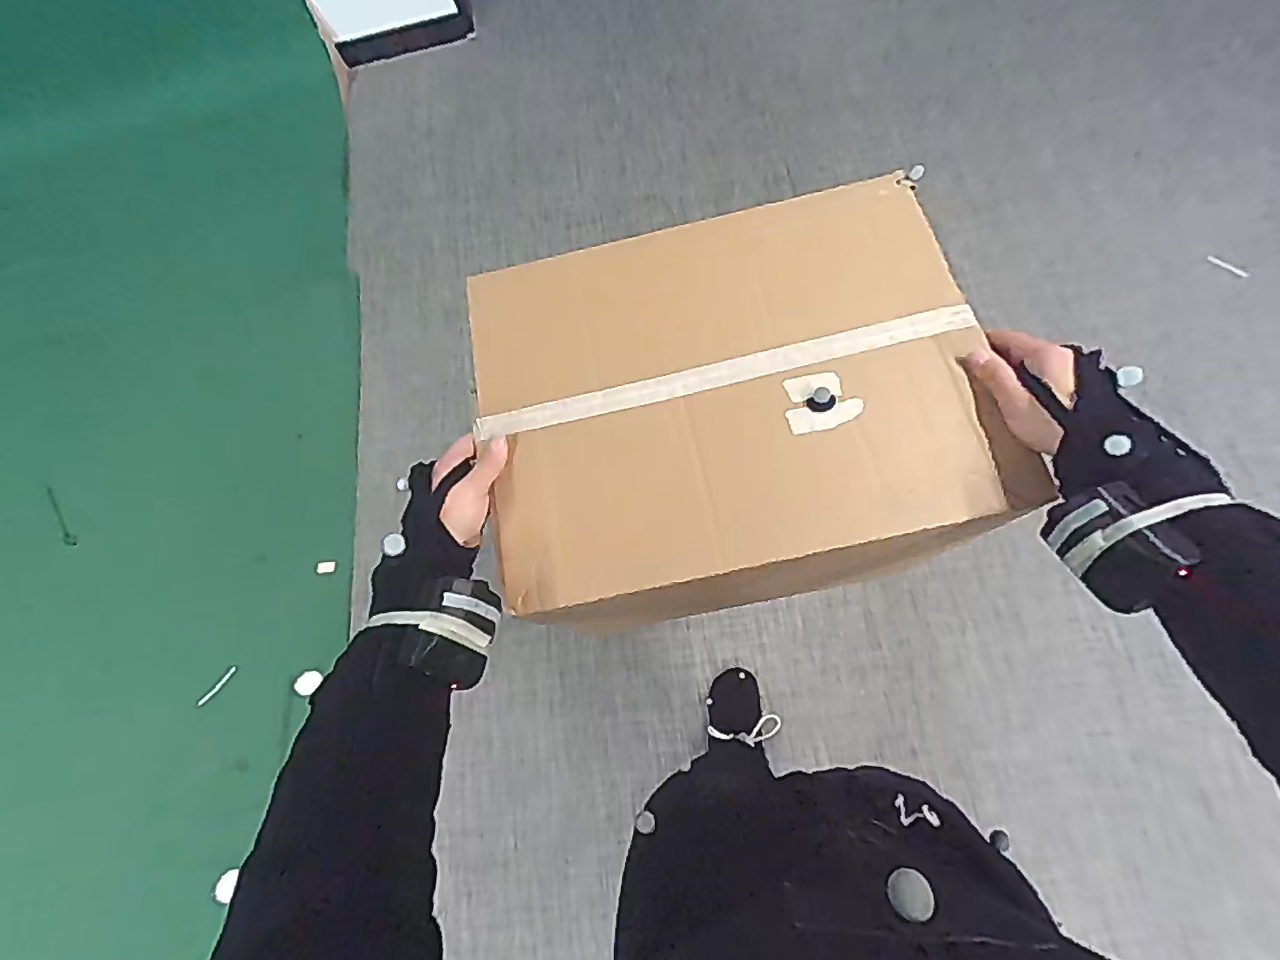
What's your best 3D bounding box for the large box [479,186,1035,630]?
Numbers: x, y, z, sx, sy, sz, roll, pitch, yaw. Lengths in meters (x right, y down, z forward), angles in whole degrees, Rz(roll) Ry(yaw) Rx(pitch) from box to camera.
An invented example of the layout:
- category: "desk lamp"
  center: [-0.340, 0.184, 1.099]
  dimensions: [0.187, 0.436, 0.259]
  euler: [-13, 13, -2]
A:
- category: "large box"
  center: [0.084, -0.039, 0.592]
  dimensions: [0.408, 0.320, 0.320]
  euler: [-13, 72, 1]
